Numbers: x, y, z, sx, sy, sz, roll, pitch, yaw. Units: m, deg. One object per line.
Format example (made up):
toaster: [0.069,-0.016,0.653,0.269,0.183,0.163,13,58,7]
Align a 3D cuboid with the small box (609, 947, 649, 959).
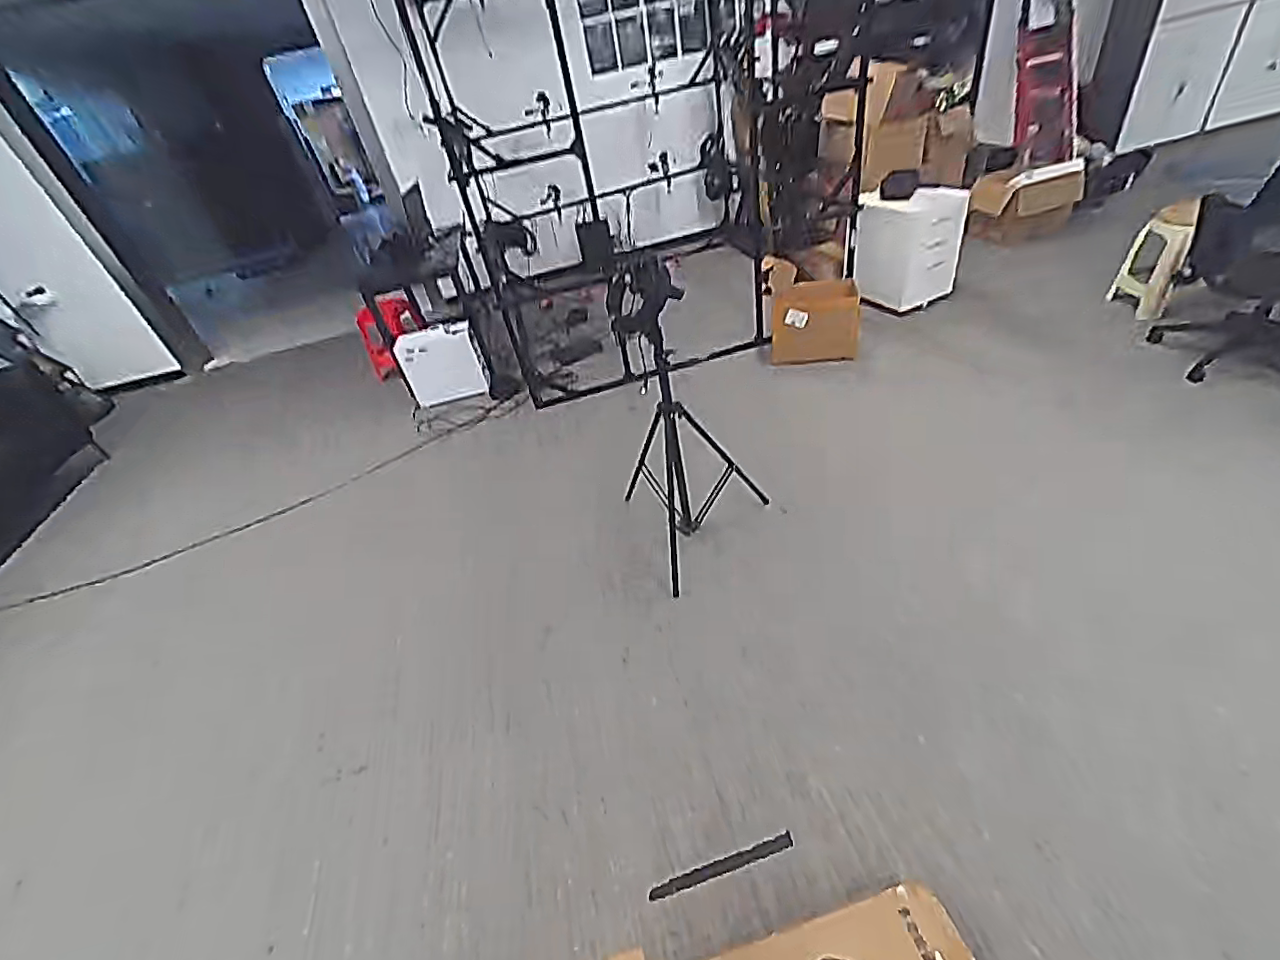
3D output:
small box: [-0.036,0.875,0.829,0.168,0.176,0.179,-18,38,-7]
